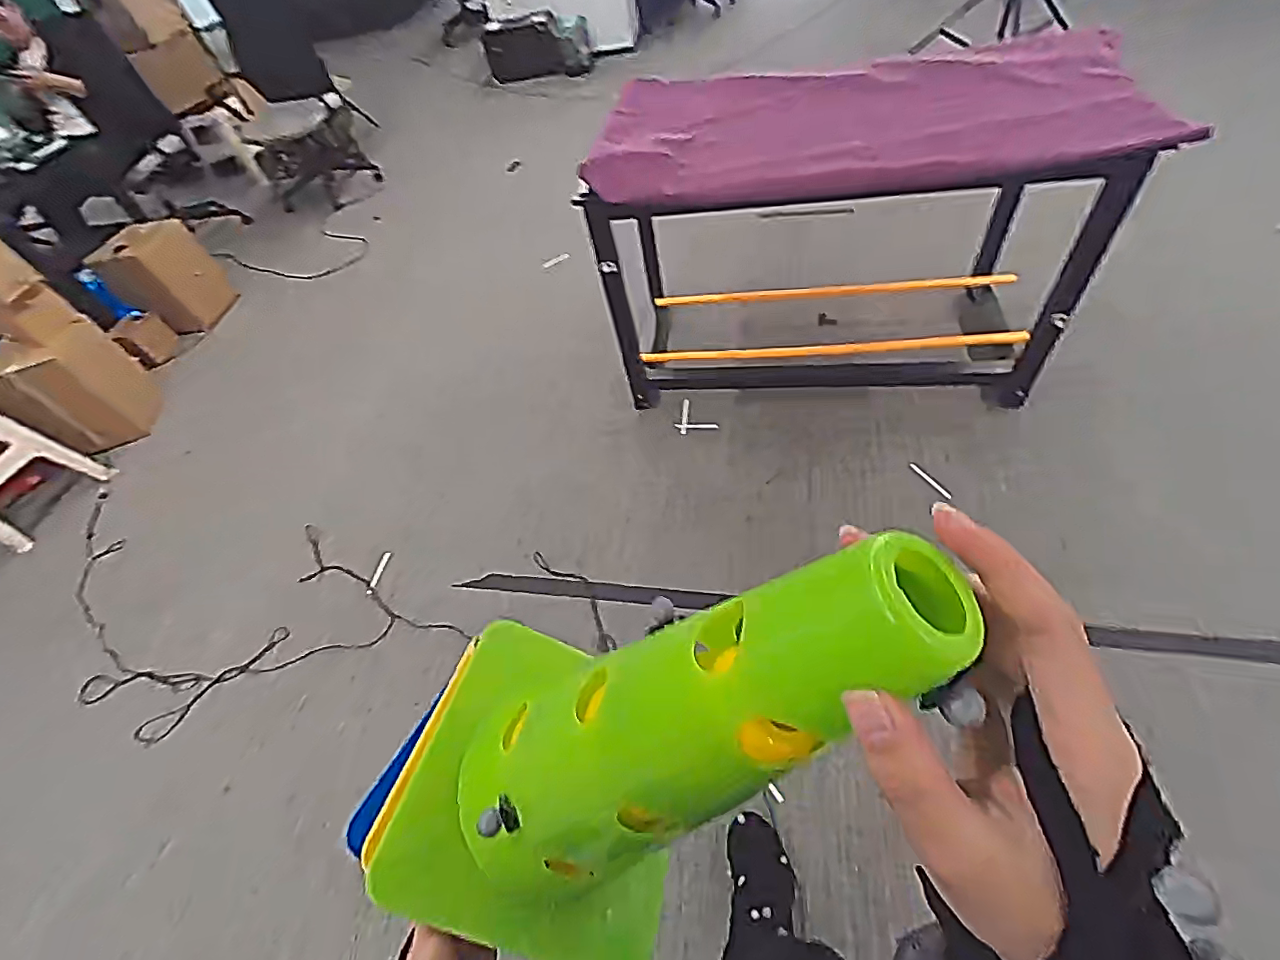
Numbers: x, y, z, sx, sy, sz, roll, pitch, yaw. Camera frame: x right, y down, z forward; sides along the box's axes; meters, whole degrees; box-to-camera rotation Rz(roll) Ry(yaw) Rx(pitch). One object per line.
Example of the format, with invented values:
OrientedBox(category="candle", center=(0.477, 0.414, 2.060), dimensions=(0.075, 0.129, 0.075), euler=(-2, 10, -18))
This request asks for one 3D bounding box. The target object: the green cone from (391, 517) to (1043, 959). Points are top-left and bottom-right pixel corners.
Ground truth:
OrientedBox(category="green cone", center=(0.018, 0.118, 0.277), dimensions=(0.200, 0.368, 0.202), euler=(26, 48, -8))
